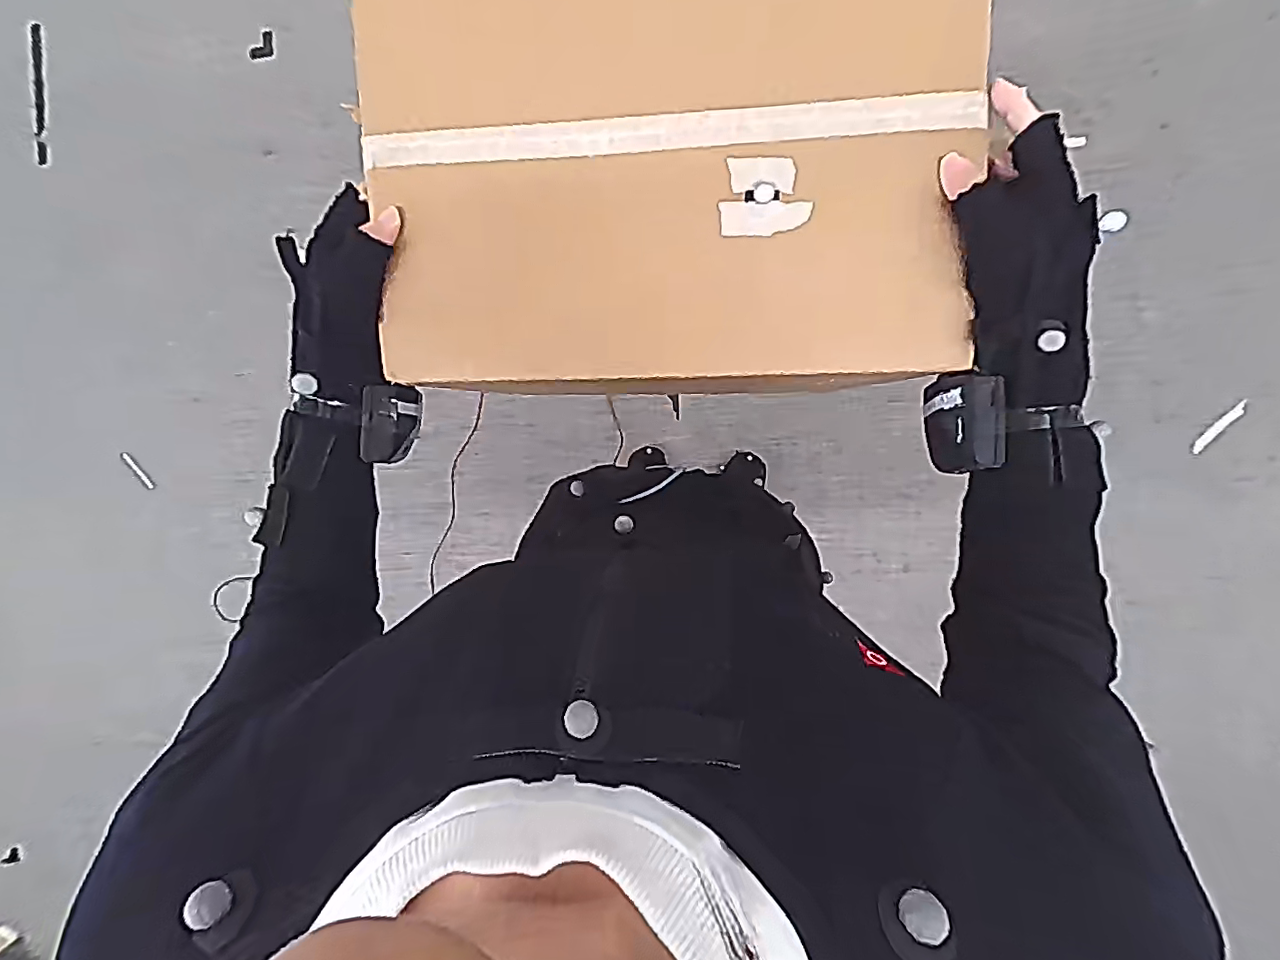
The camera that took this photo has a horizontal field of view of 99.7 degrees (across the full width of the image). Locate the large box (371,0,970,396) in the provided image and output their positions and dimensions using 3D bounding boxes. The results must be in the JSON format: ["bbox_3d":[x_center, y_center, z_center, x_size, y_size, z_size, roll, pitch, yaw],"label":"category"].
[{"bbox_3d":[0.025,-0.250,0.517,0.408,0.320,0.320,-1,98,5],"label":"large box"}]
